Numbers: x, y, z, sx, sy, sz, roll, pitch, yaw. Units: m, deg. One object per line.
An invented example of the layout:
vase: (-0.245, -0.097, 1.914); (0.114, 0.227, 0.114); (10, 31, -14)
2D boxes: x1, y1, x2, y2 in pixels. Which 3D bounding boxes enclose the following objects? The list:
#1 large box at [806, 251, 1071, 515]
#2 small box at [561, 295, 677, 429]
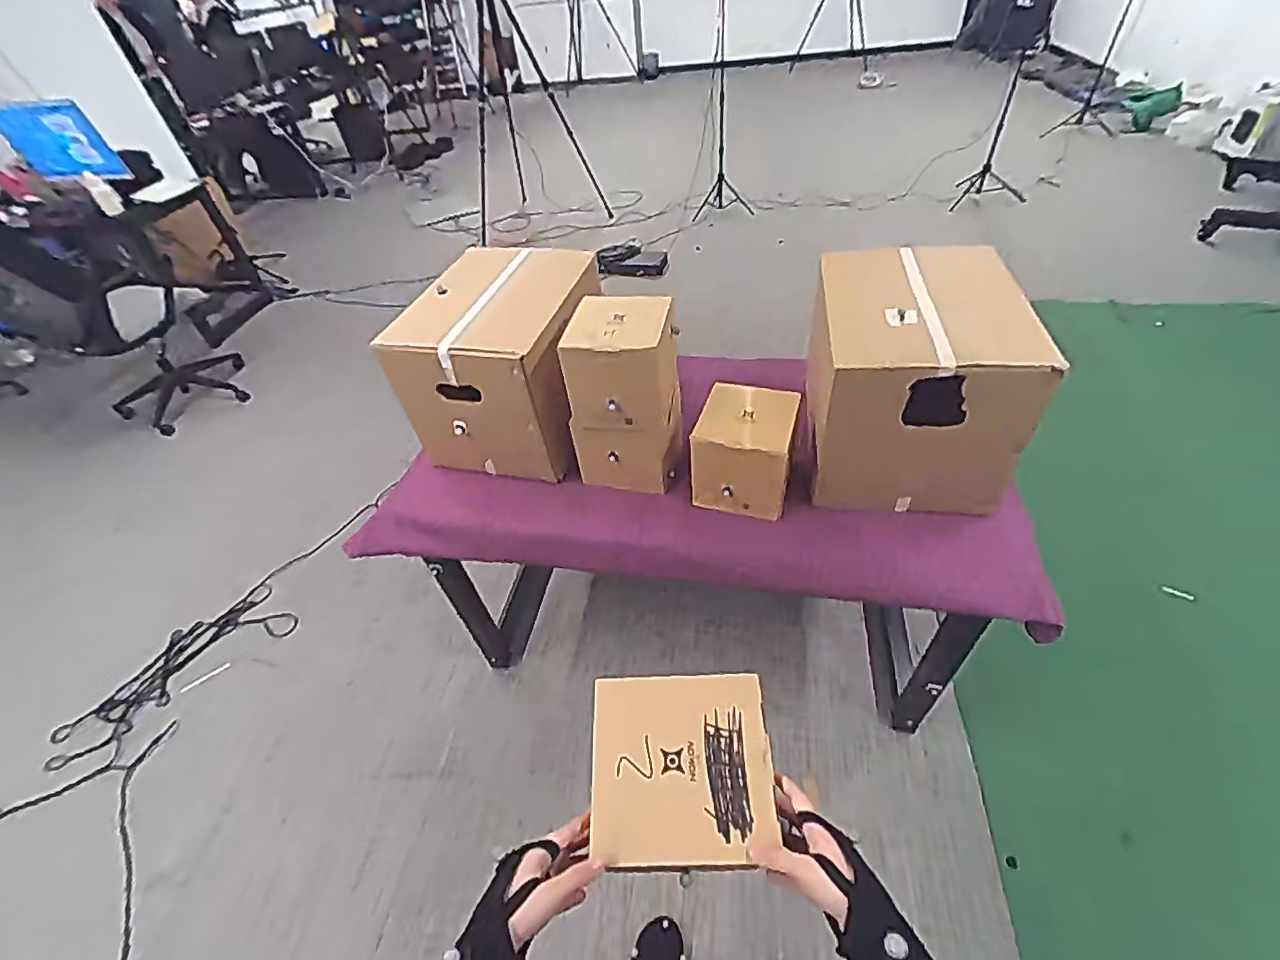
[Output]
large box: (0.494, -0.189, 1.011); (0.320, 0.320, 0.408); (2, 46, 13)
small box: (-0.027, -0.212, 0.968); (0.168, 0.176, 0.179); (4, 46, 12)
